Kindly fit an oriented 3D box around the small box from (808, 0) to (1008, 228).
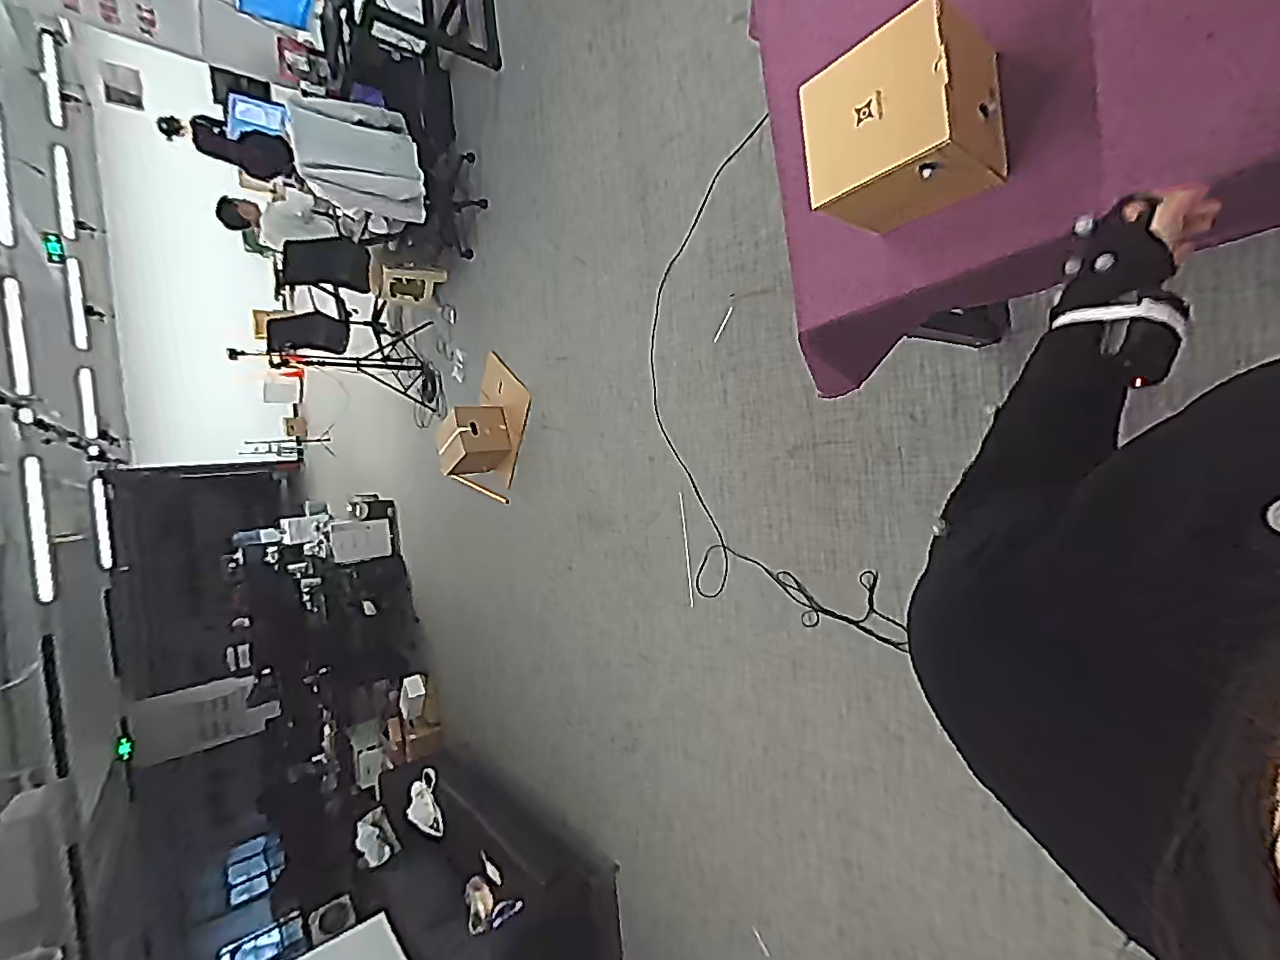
[{"bbox_3d":[0.347,-0.456,0.707,0.179,0.176,0.168,-6,90,51],"label":"small box"}]
